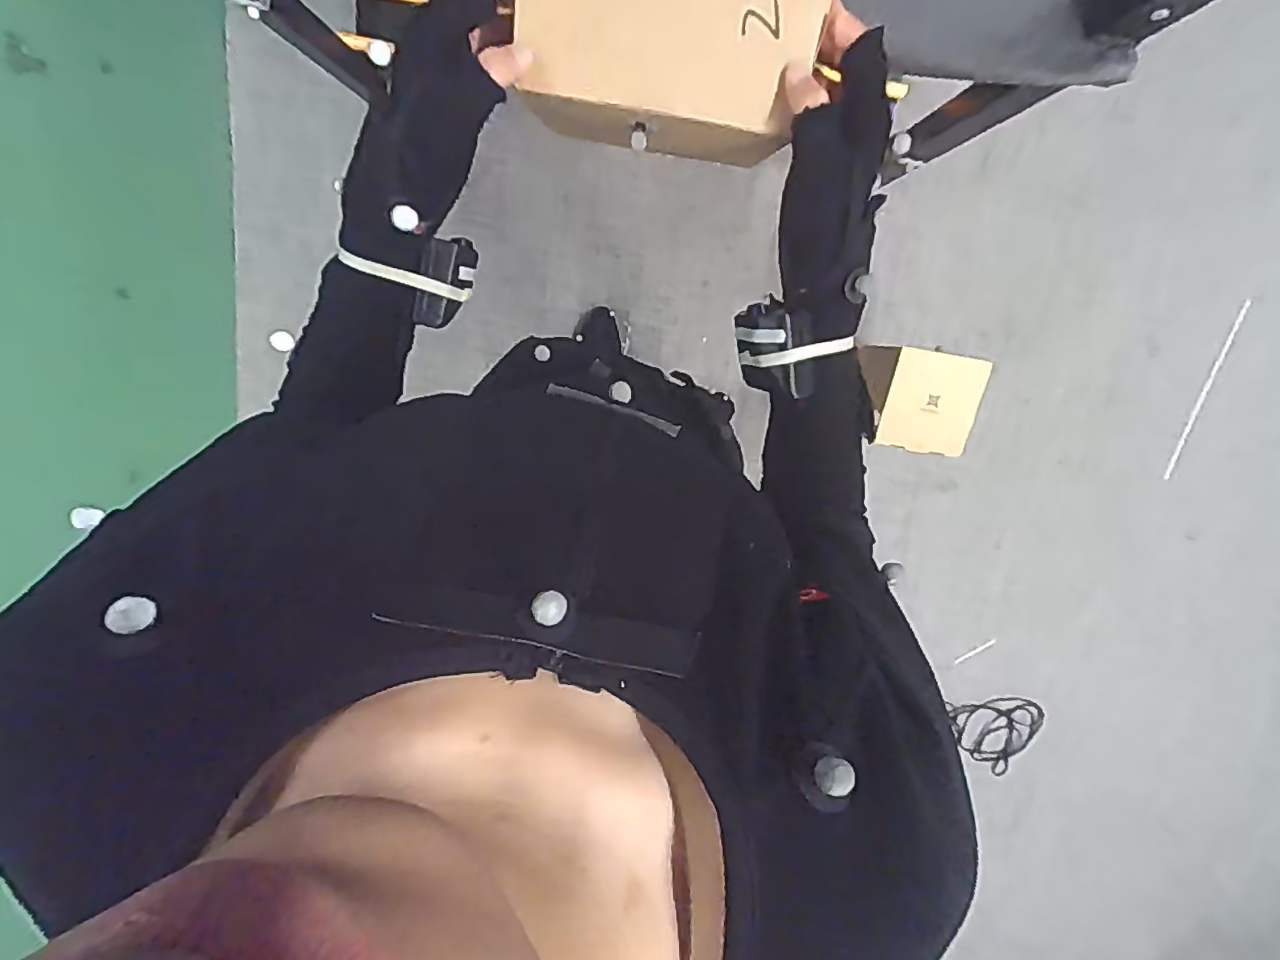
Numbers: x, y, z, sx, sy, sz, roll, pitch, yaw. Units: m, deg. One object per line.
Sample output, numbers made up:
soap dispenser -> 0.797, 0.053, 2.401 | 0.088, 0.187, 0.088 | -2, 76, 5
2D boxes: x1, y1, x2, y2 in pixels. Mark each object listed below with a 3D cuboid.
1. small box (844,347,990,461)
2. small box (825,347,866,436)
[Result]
small box -> 0.508, -0.152, 1.024 | 0.168, 0.176, 0.179 | 10, 106, -2
small box -> 0.522, -0.189, 1.182 | 0.168, 0.176, 0.179 | 7, 105, -2
